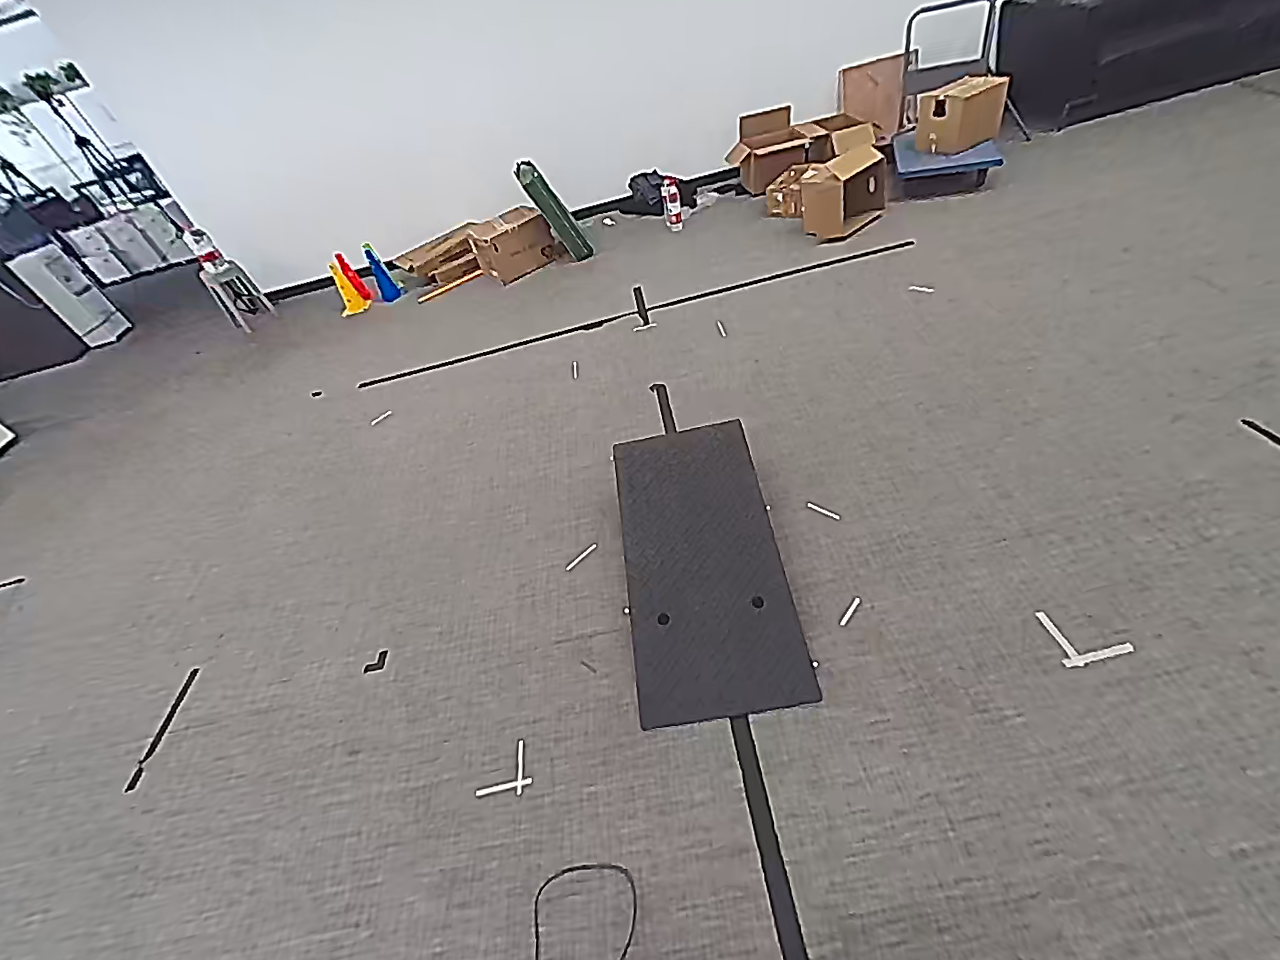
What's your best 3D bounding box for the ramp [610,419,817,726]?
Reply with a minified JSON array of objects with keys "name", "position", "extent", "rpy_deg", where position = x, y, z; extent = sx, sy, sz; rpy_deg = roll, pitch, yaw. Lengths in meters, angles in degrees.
[{"name":"ramp","position":[0.182,0.223,1.739],"extent":[0.509,0.206,0.991],"rpy_deg":[-12,44,3]}]
